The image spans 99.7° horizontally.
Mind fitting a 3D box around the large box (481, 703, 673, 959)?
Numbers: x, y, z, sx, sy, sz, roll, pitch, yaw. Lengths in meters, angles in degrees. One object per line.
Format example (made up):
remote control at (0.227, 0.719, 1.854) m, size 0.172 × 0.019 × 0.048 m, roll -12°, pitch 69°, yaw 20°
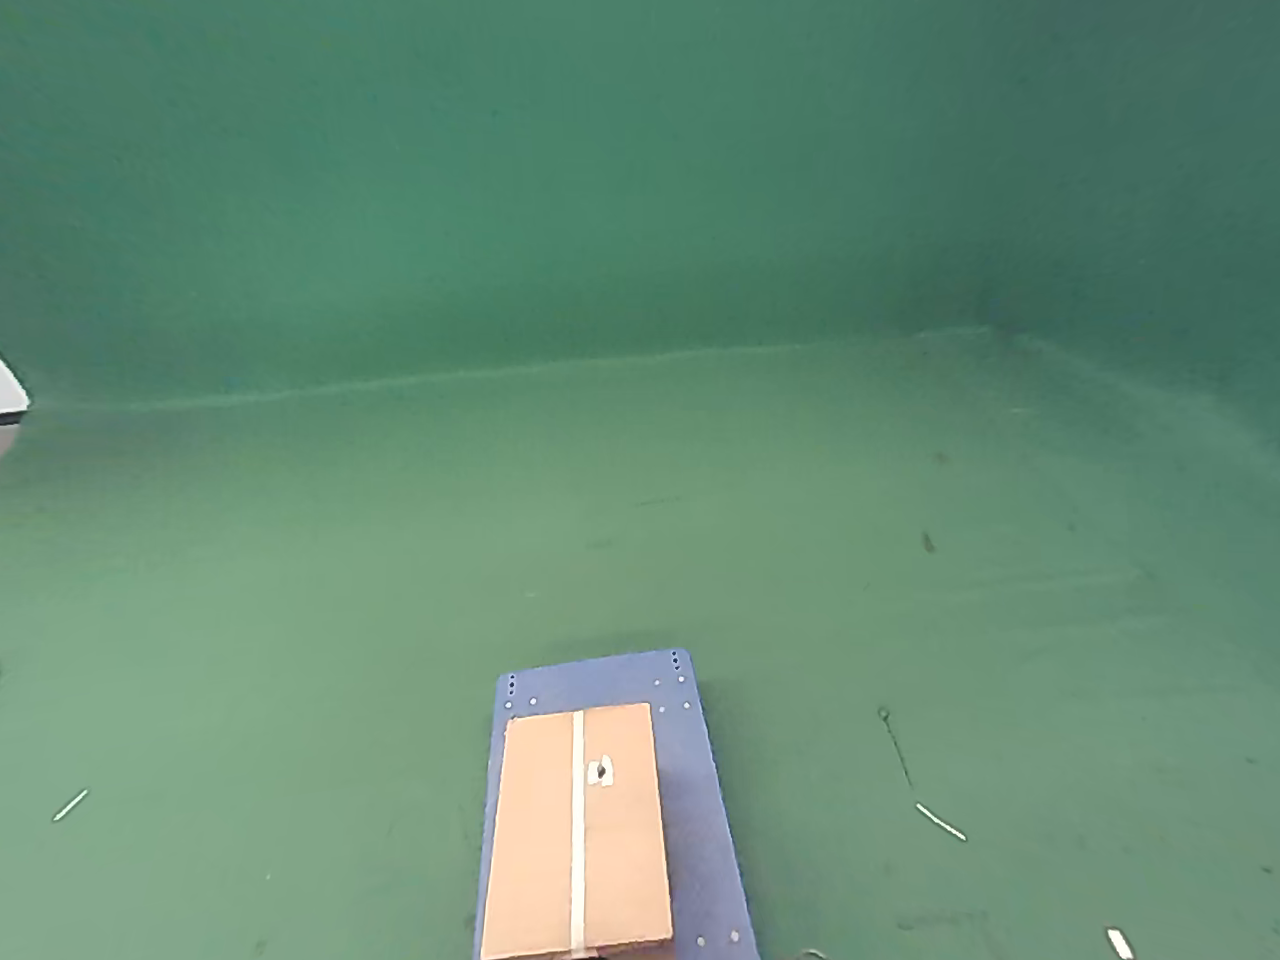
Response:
large box at (-0.113, 0.743, 1.115) m, size 0.320 × 0.320 × 0.408 m, roll -5°, pitch 38°, yaw -2°
